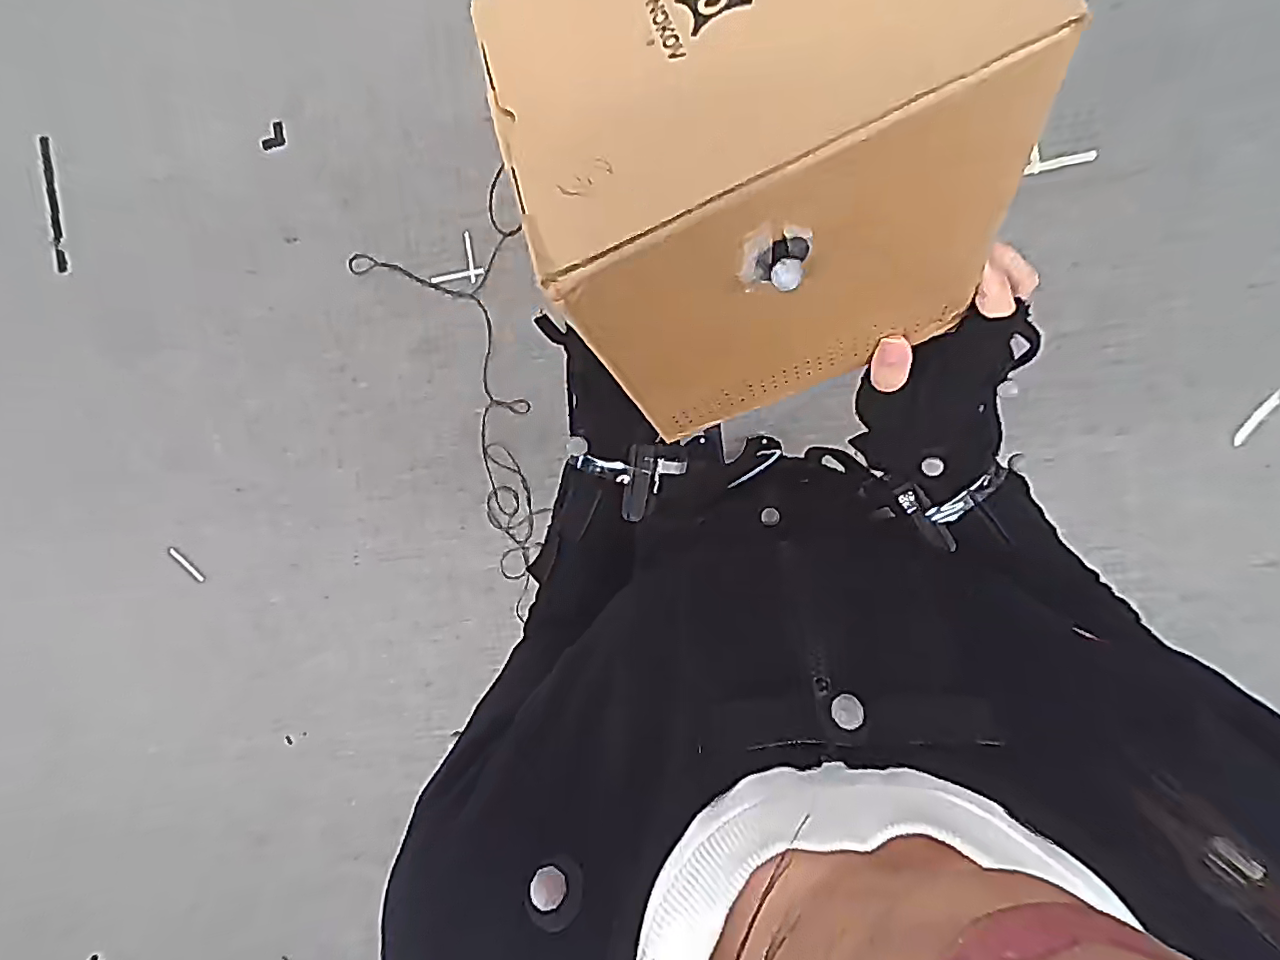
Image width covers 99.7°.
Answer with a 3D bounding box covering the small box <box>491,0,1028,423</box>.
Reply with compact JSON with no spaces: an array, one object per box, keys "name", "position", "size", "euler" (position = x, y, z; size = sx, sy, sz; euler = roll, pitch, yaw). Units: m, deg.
[{"name":"small box","position":[0.051,-0.152,0.288],"size":[0.179,0.176,0.168],"euler":[-21,69,12]}]
